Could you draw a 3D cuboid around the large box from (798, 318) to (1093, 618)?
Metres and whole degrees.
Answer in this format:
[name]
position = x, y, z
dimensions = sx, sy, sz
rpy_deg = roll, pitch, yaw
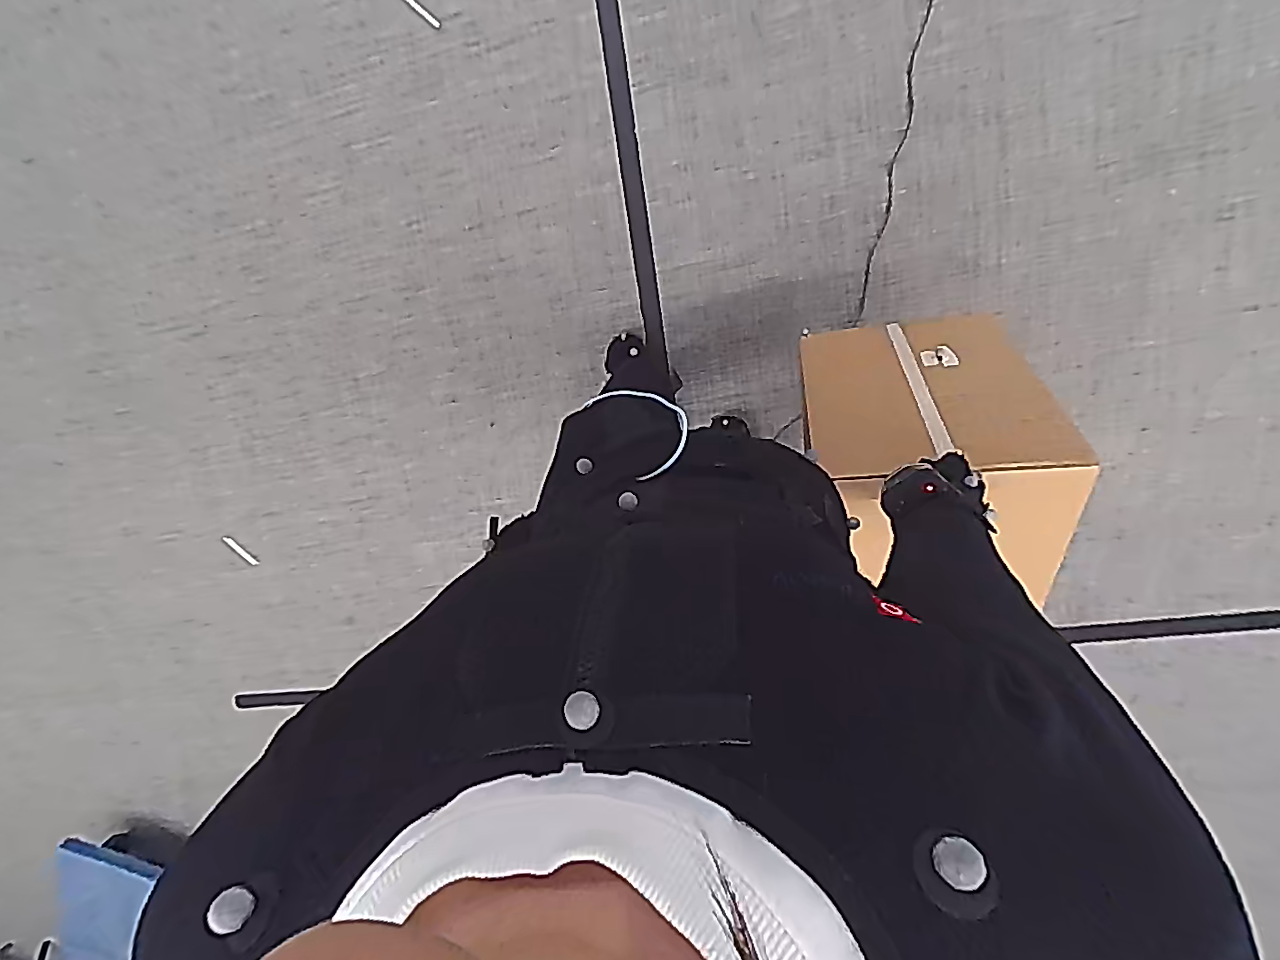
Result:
[large box]
position = 0.445, -0.025, 0.904
dimensions = 0.320, 0.408, 0.320
rpy_deg = -4, 129, 14
